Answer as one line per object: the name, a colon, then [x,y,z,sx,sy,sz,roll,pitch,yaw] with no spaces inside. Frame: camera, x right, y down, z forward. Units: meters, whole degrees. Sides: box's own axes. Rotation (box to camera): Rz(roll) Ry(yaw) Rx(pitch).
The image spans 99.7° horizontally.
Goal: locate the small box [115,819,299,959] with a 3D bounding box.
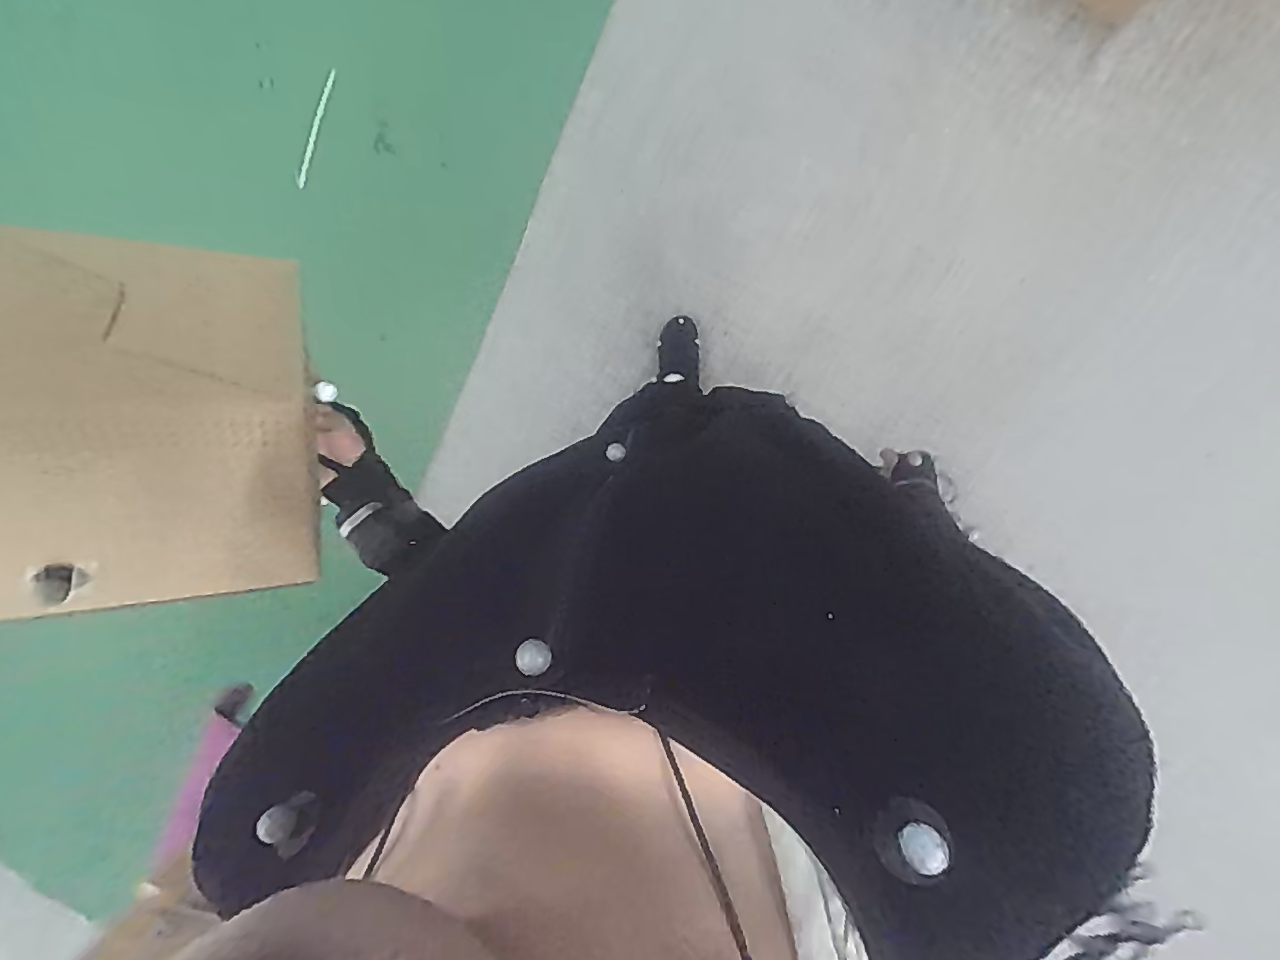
small box: [-0.756,0.755,0.960,0.179,0.176,0.168,31,105,2]
